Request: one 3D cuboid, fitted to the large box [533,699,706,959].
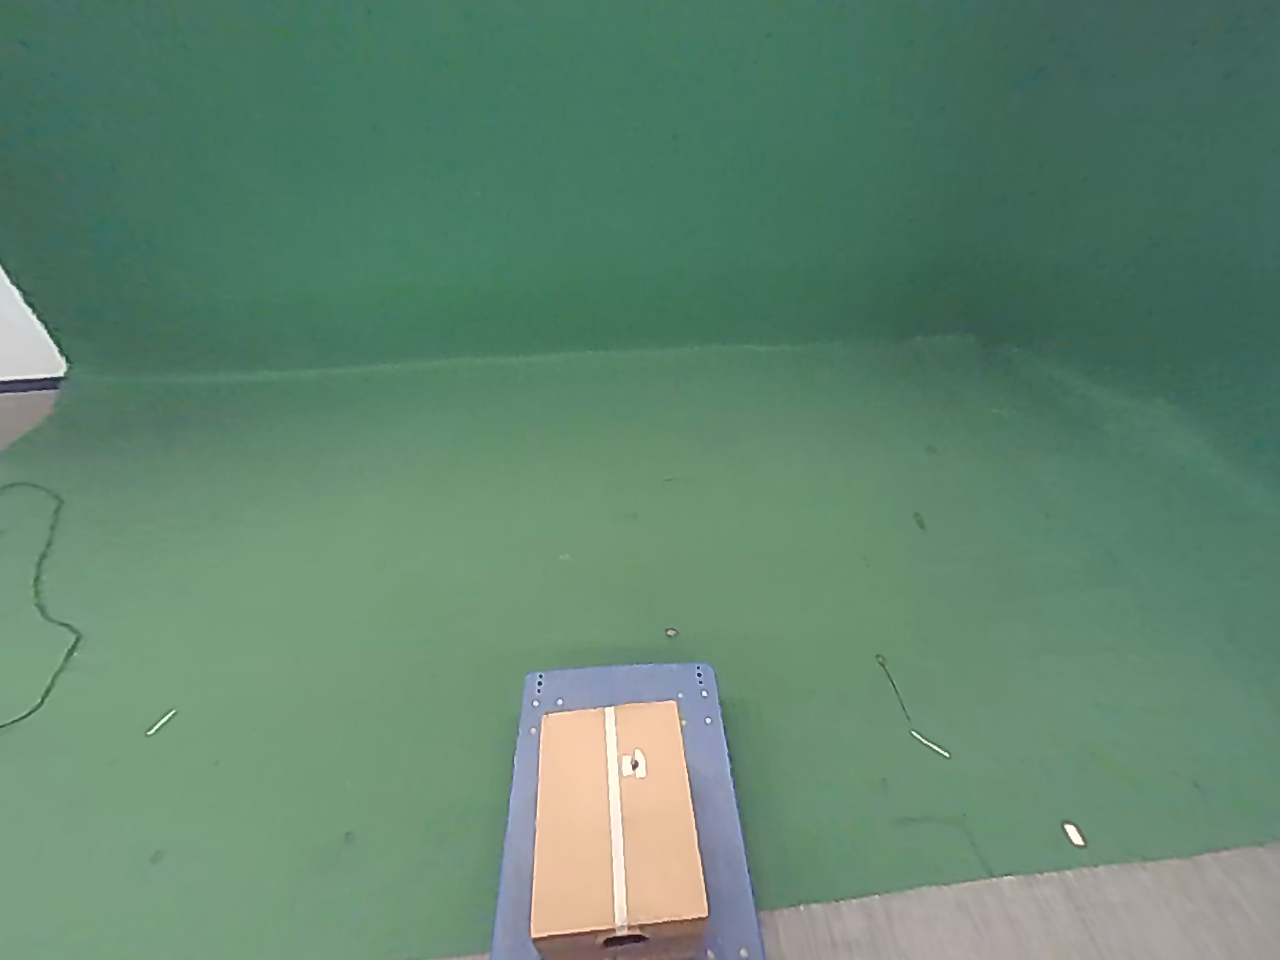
[{"bbox_3d":[-0.049,0.765,1.195,0.320,0.320,0.408,-4,39,-4],"label":"large box"}]
